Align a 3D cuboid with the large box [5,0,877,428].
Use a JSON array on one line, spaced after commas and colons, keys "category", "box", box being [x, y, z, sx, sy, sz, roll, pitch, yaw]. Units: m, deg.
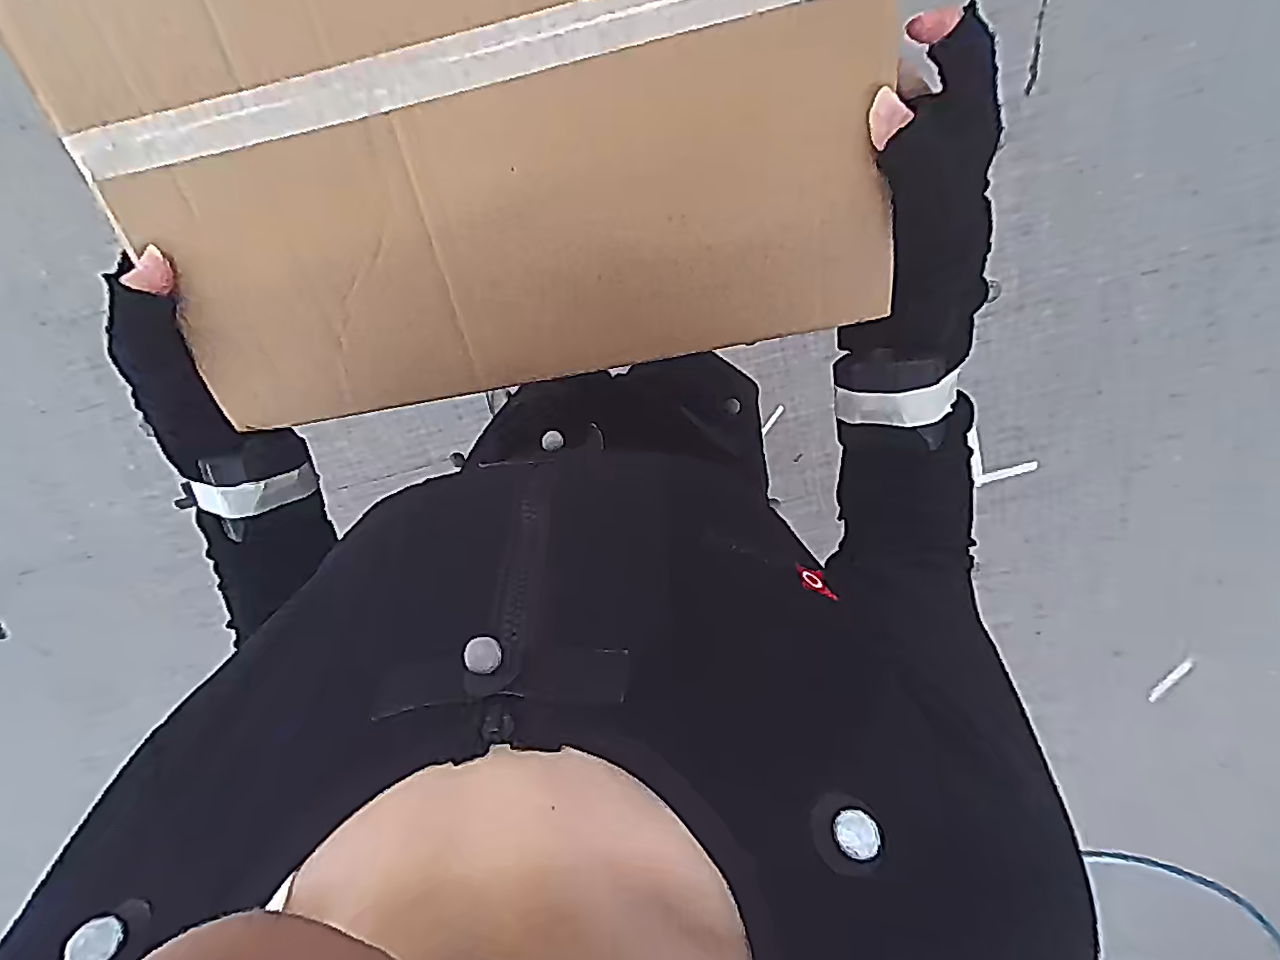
[{"category": "large box", "box": [-0.084, -0.270, 0.394, 0.408, 0.320, 0.320, -9, 117, 7]}]
